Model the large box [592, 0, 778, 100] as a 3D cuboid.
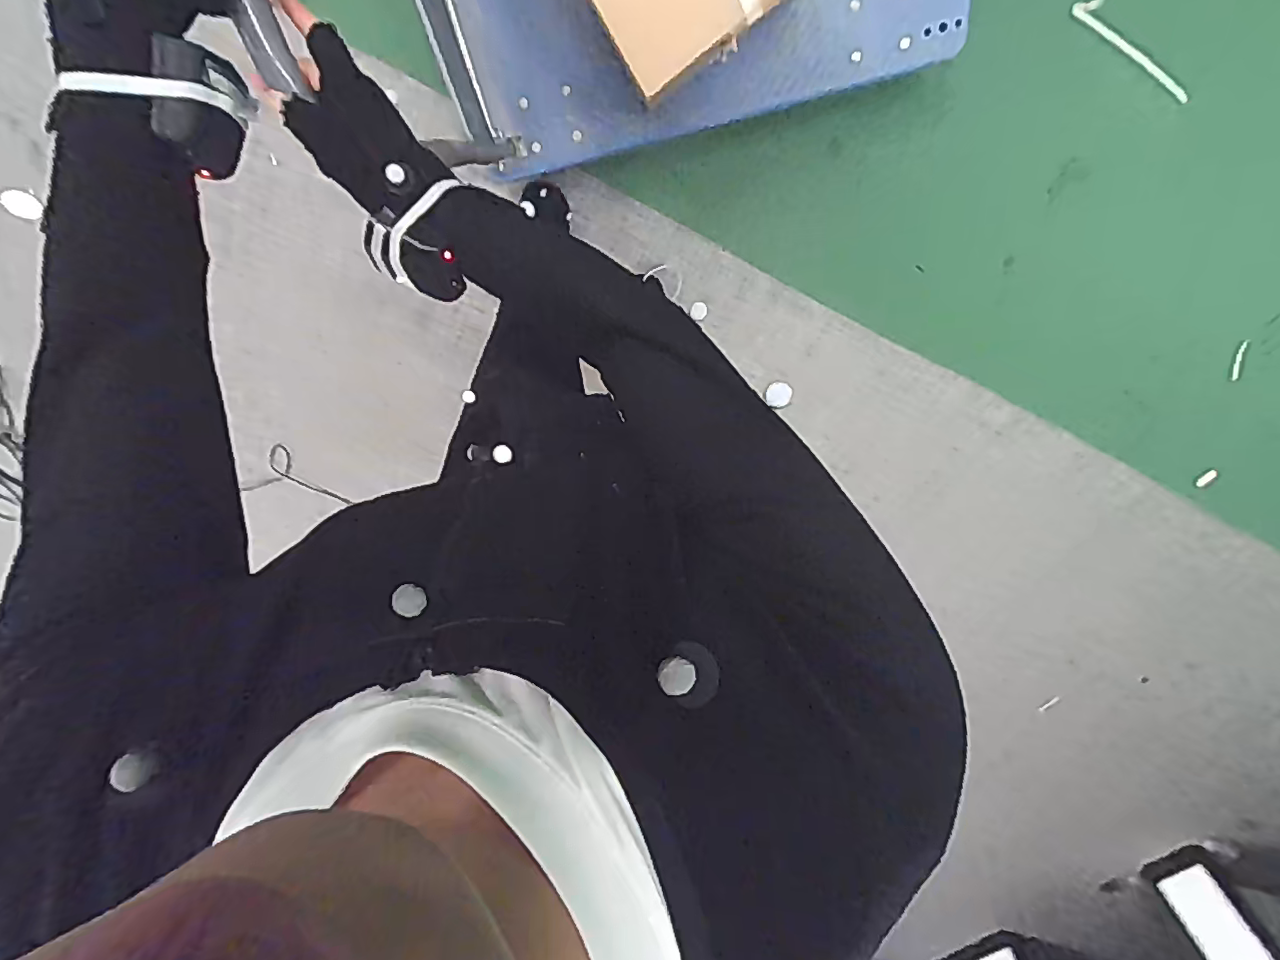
[{"bbox_3d":[0.033,-0.803,0.706,0.320,0.320,0.408,-28,116,18],"label":"large box"}]
